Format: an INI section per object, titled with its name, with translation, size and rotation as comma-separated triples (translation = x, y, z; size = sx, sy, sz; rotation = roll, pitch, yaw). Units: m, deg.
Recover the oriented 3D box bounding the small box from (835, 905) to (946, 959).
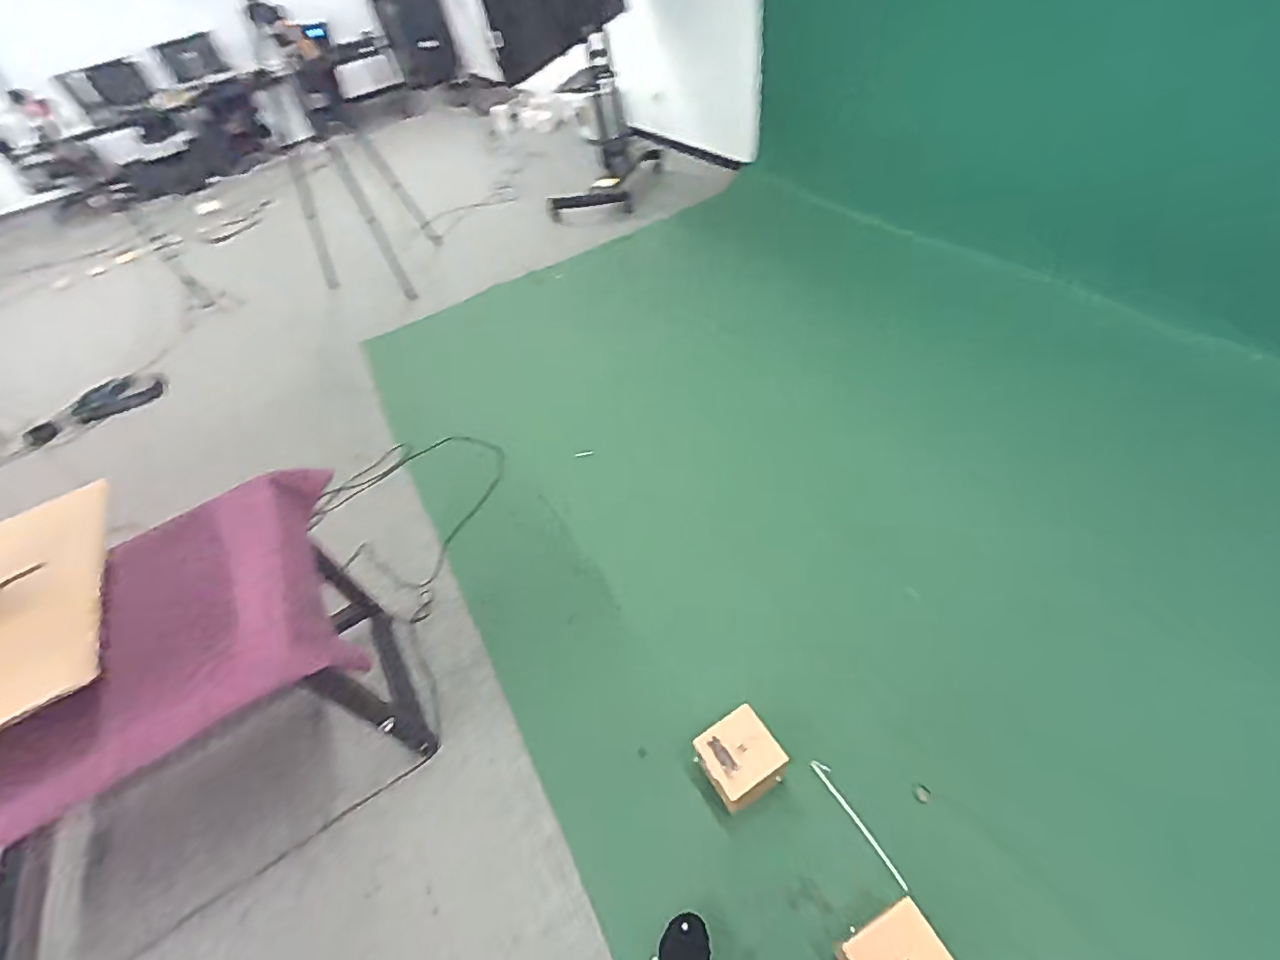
[small box]
translation = 0.519, 1.003, 1.095
size = 0.179, 0.176, 0.168
rotation = -27, 49, -11
